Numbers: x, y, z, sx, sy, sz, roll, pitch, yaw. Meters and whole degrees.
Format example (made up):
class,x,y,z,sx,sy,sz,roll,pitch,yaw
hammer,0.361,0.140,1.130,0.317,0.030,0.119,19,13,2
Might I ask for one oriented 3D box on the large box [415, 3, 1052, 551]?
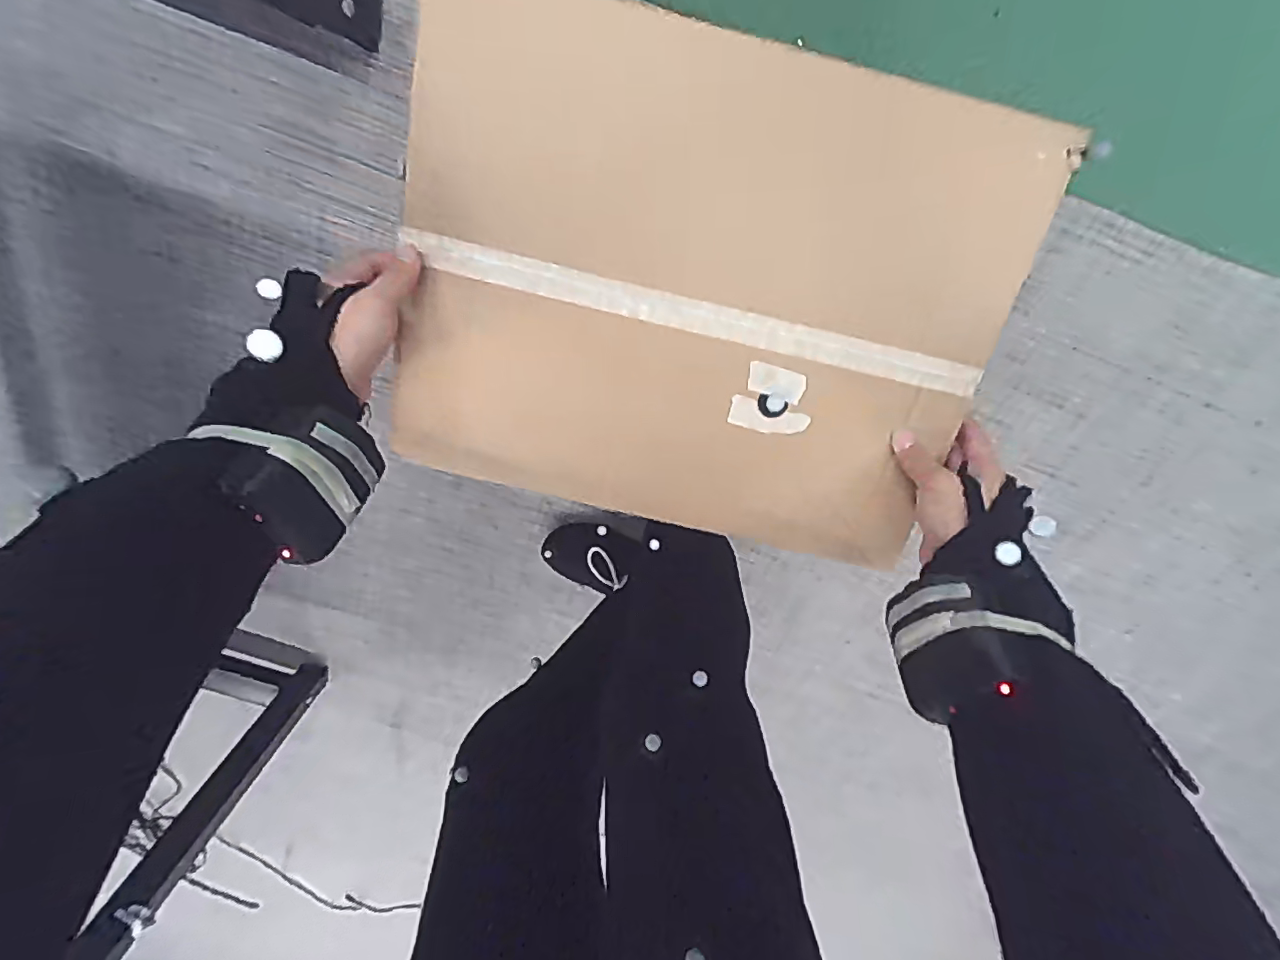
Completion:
class,x,y,z,sx,sy,sz,roll,pitch,yaw
large box,0.045,-0.165,0.527,0.408,0.320,0.320,11,110,-3
